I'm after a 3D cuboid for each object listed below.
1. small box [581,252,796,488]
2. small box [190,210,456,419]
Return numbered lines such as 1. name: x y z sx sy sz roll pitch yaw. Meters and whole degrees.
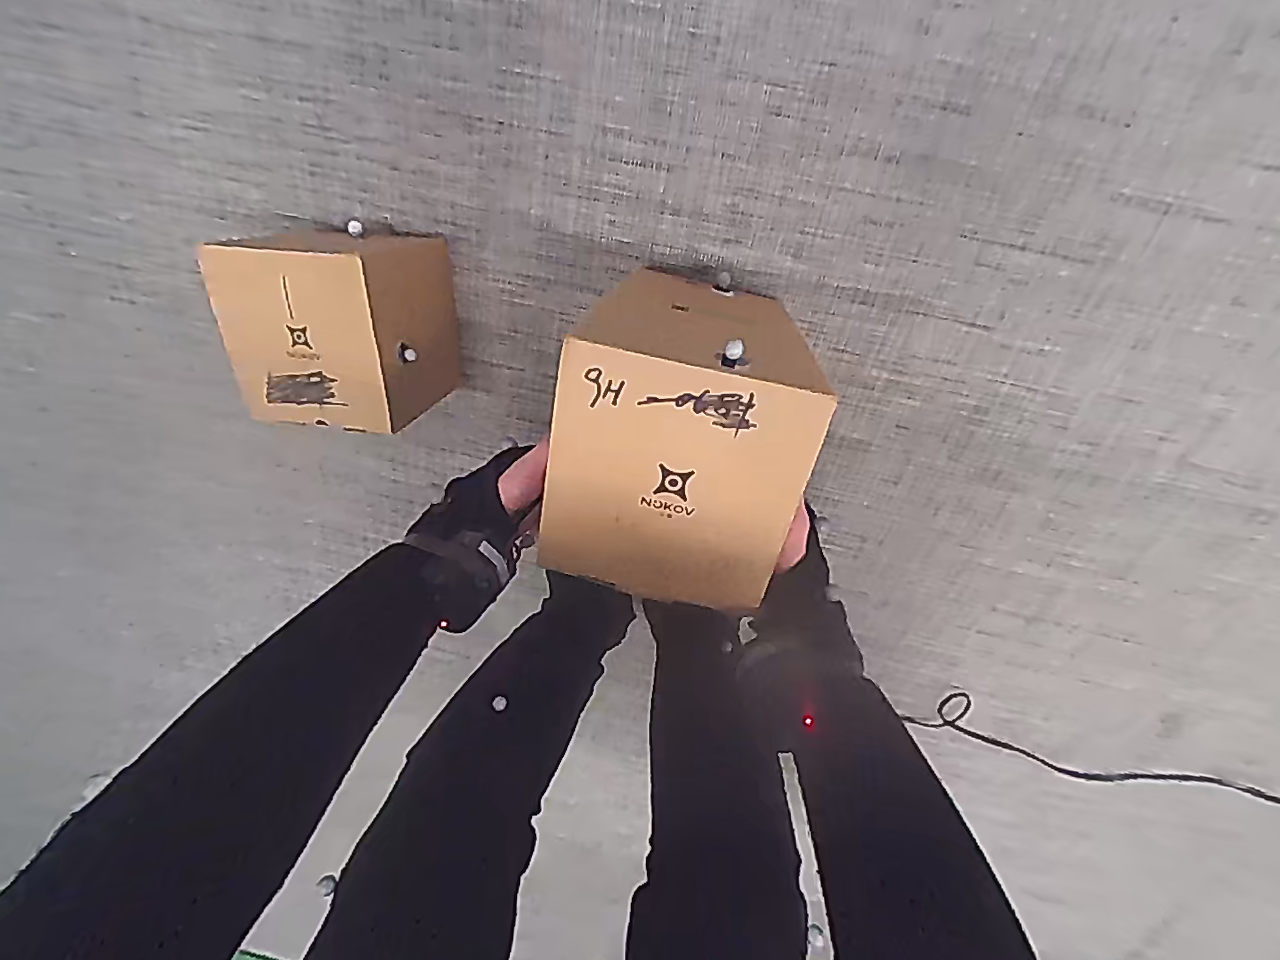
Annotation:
1. small box: 0.047 -0.121 0.560 0.168 0.176 0.179 13 119 1
2. small box: -0.317 -0.186 0.587 0.168 0.176 0.179 7 120 6
